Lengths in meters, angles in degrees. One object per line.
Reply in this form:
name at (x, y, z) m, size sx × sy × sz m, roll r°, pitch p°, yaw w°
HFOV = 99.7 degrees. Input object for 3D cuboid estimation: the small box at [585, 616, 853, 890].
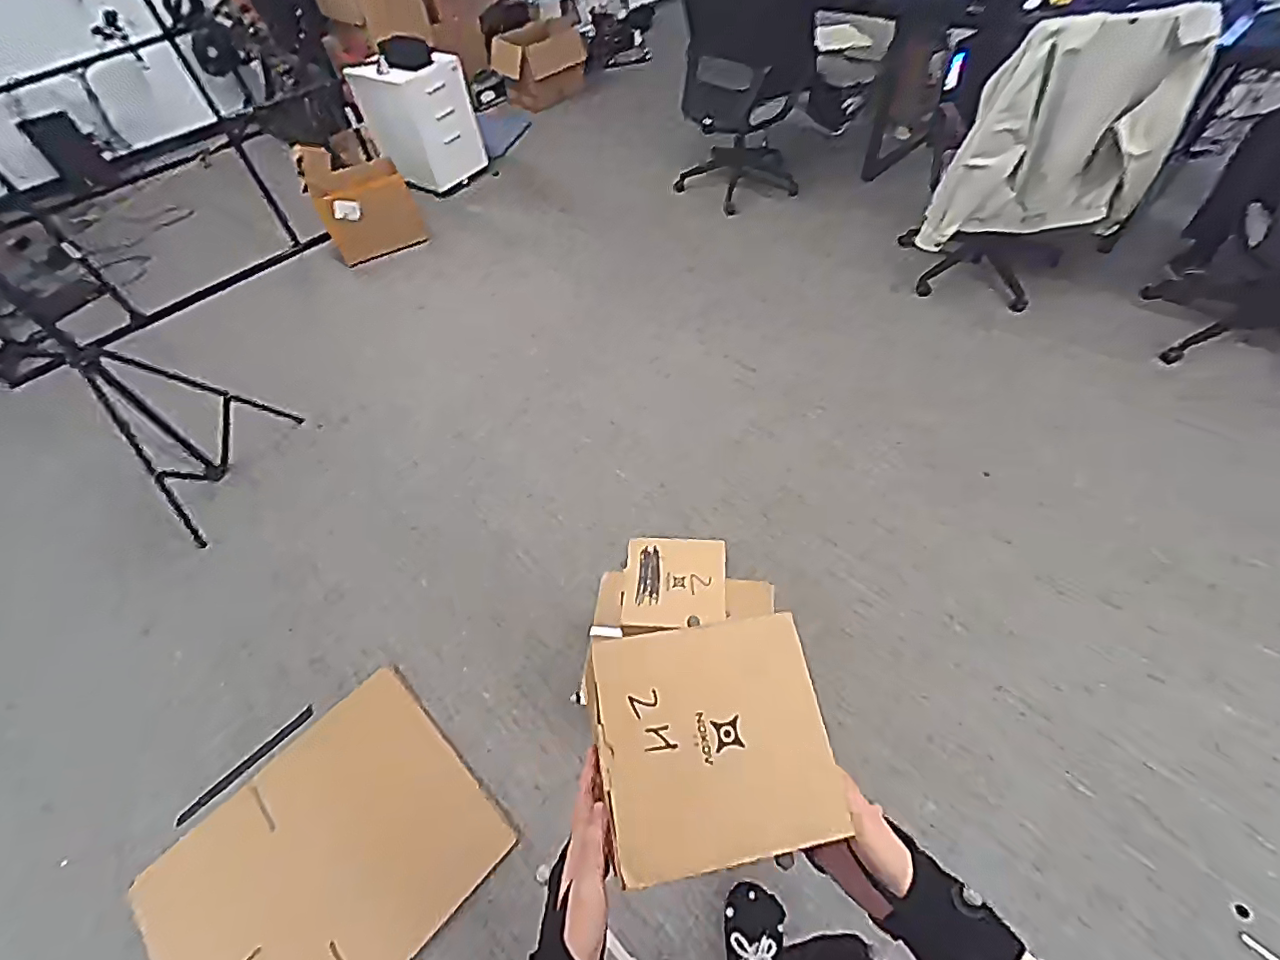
small box at (0.049, 0.231, 0.480) m, size 0.179 × 0.176 × 0.168 m, roll -6°, pitch 63°, yaw -10°

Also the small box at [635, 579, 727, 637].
small box at (0.087, 0.318, 1.113) m, size 0.179 × 0.176 × 0.168 m, roll 1°, pitch 54°, yaw 6°
